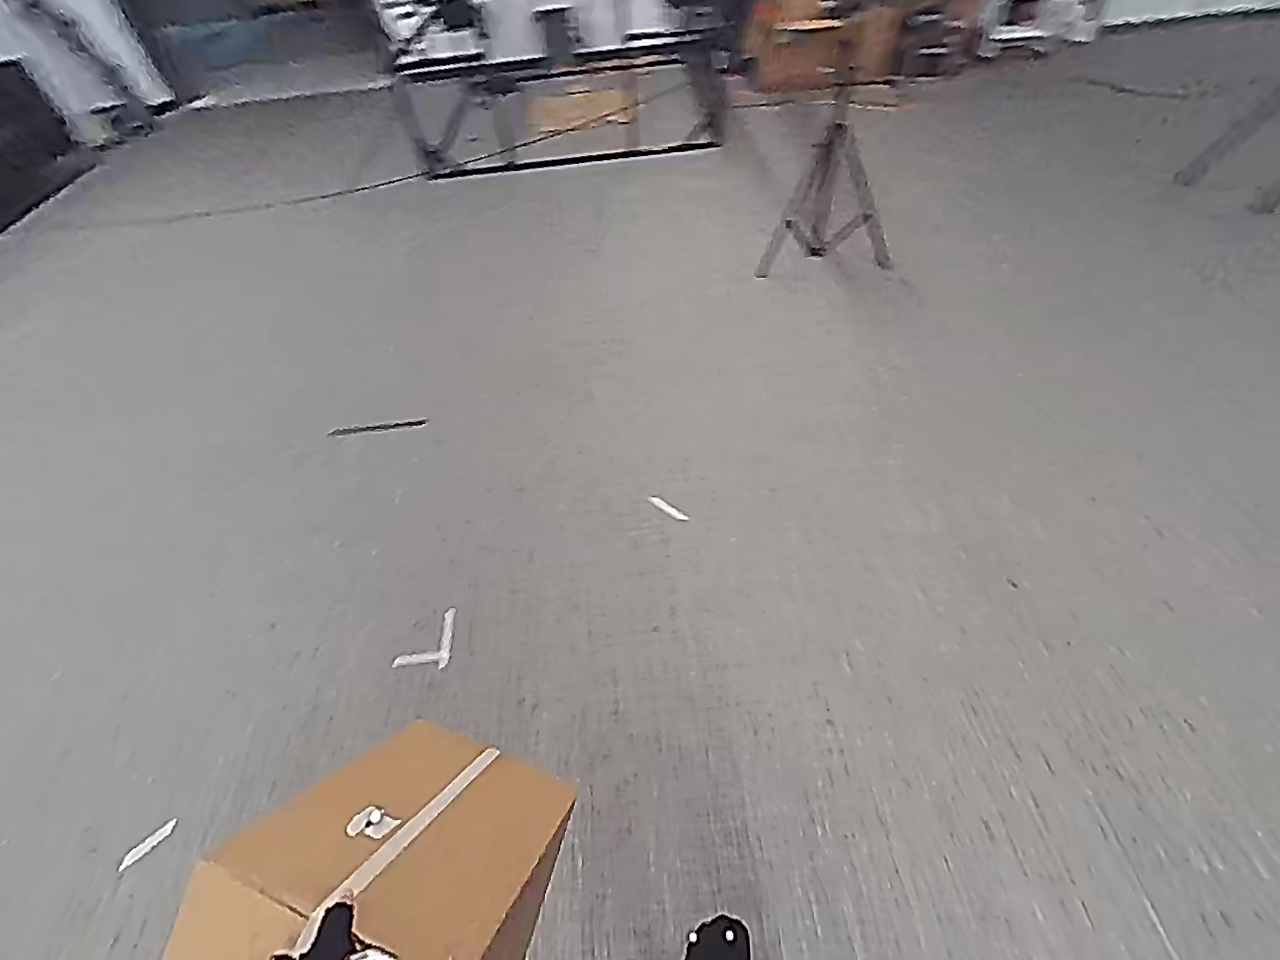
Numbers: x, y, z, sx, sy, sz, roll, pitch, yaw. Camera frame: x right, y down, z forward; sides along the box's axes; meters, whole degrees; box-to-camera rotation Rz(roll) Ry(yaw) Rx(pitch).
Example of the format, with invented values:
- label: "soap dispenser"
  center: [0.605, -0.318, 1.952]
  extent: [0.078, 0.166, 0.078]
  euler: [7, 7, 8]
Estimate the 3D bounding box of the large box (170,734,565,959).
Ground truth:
- label: "large box"
  center: [-0.340, 0.621, 0.727]
  extent: [0.320, 0.408, 0.320]
  euler: [16, 90, 10]
